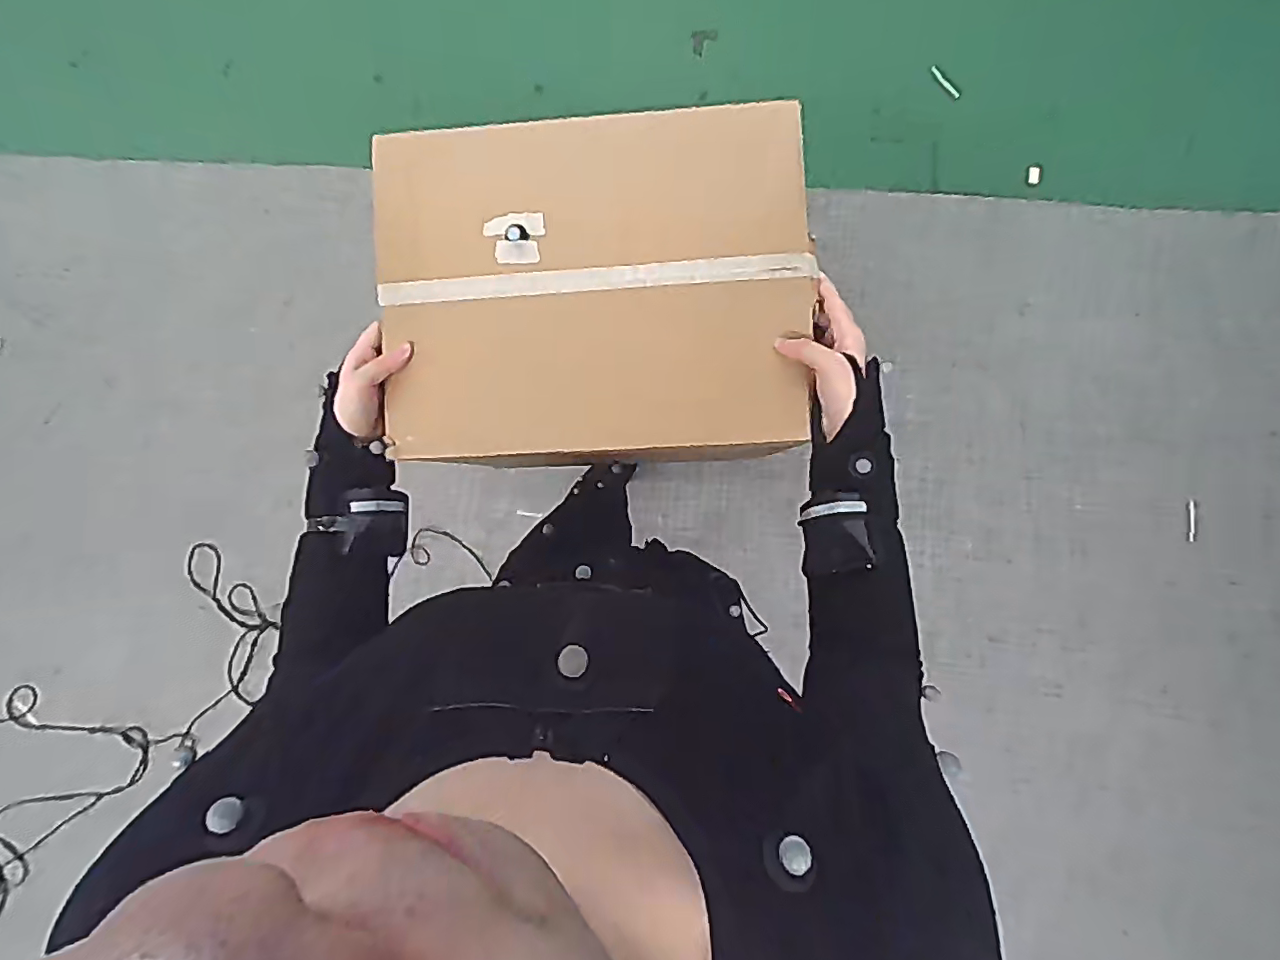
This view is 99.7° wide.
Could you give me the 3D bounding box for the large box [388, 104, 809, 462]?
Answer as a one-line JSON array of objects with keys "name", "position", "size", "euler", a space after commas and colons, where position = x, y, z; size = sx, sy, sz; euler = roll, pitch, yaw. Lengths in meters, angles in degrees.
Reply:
[{"name": "large box", "position": [-0.032, -0.189, 0.669], "size": [0.408, 0.320, 0.320], "euler": [-3, 89, 5]}]
